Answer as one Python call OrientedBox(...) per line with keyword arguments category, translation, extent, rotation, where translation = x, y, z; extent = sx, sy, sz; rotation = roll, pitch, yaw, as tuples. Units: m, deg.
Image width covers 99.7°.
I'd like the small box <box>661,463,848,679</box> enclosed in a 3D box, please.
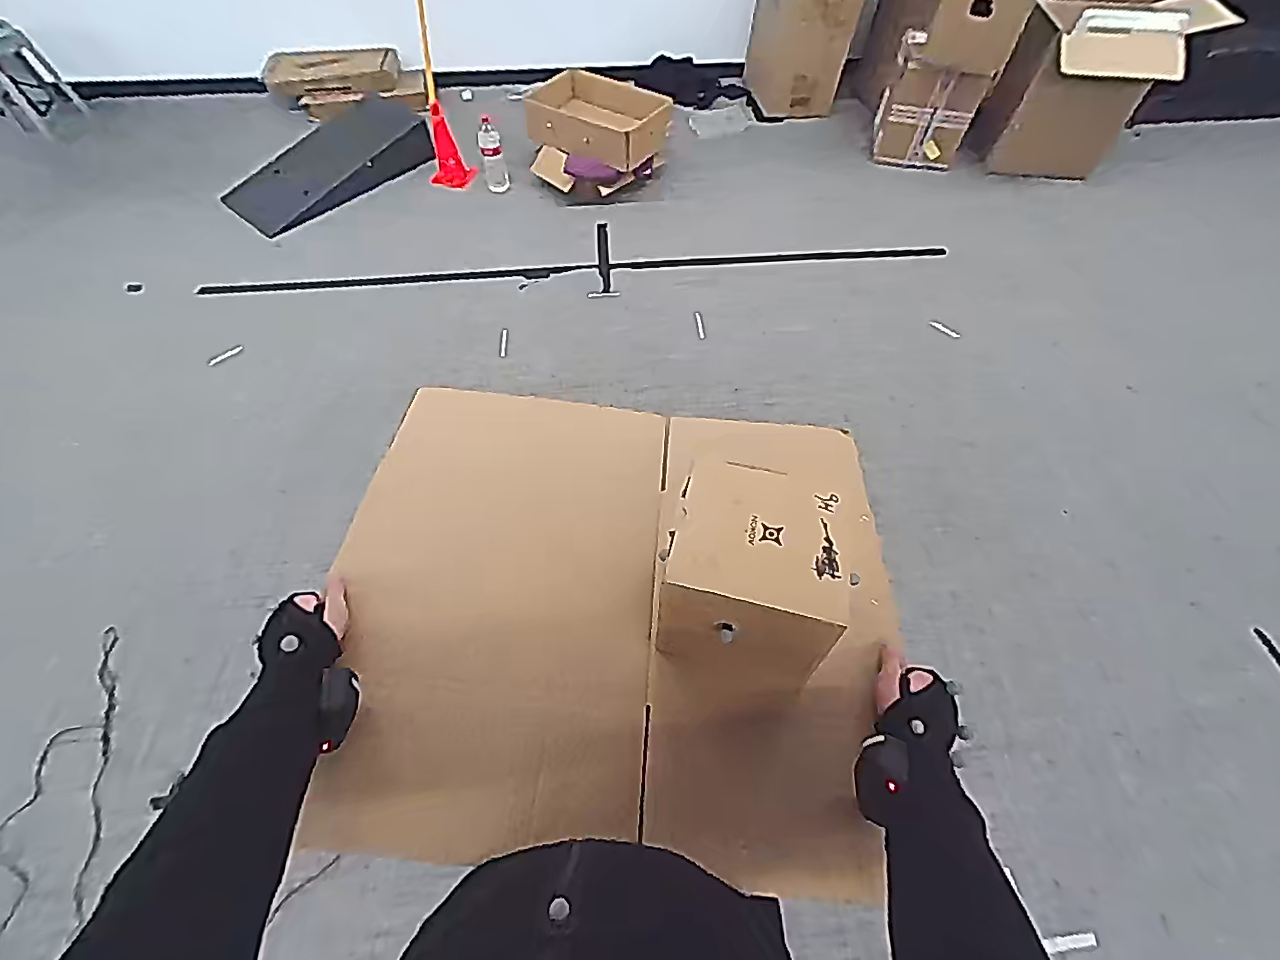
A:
OrientedBox(category="small box", translation=(0.125, 0.108, 0.620), extent=(0.179, 0.176, 0.168), rotation=(11, 52, 10))
